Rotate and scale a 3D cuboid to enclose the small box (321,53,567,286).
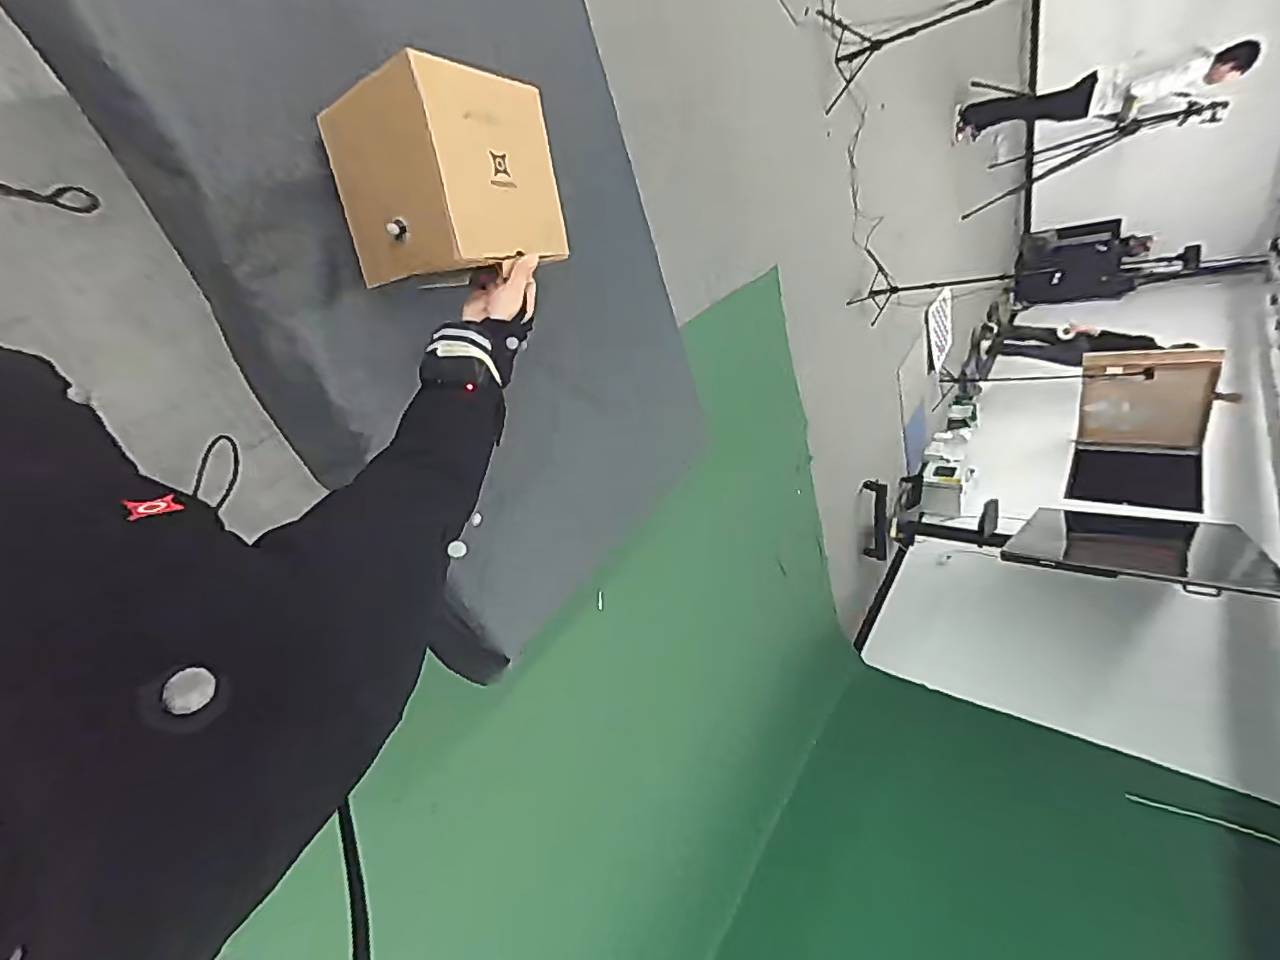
[{"bbox_3d":[-0.211,-0.318,0.598,0.168,0.176,0.179,-32,117,-49],"label":"small box"}]
